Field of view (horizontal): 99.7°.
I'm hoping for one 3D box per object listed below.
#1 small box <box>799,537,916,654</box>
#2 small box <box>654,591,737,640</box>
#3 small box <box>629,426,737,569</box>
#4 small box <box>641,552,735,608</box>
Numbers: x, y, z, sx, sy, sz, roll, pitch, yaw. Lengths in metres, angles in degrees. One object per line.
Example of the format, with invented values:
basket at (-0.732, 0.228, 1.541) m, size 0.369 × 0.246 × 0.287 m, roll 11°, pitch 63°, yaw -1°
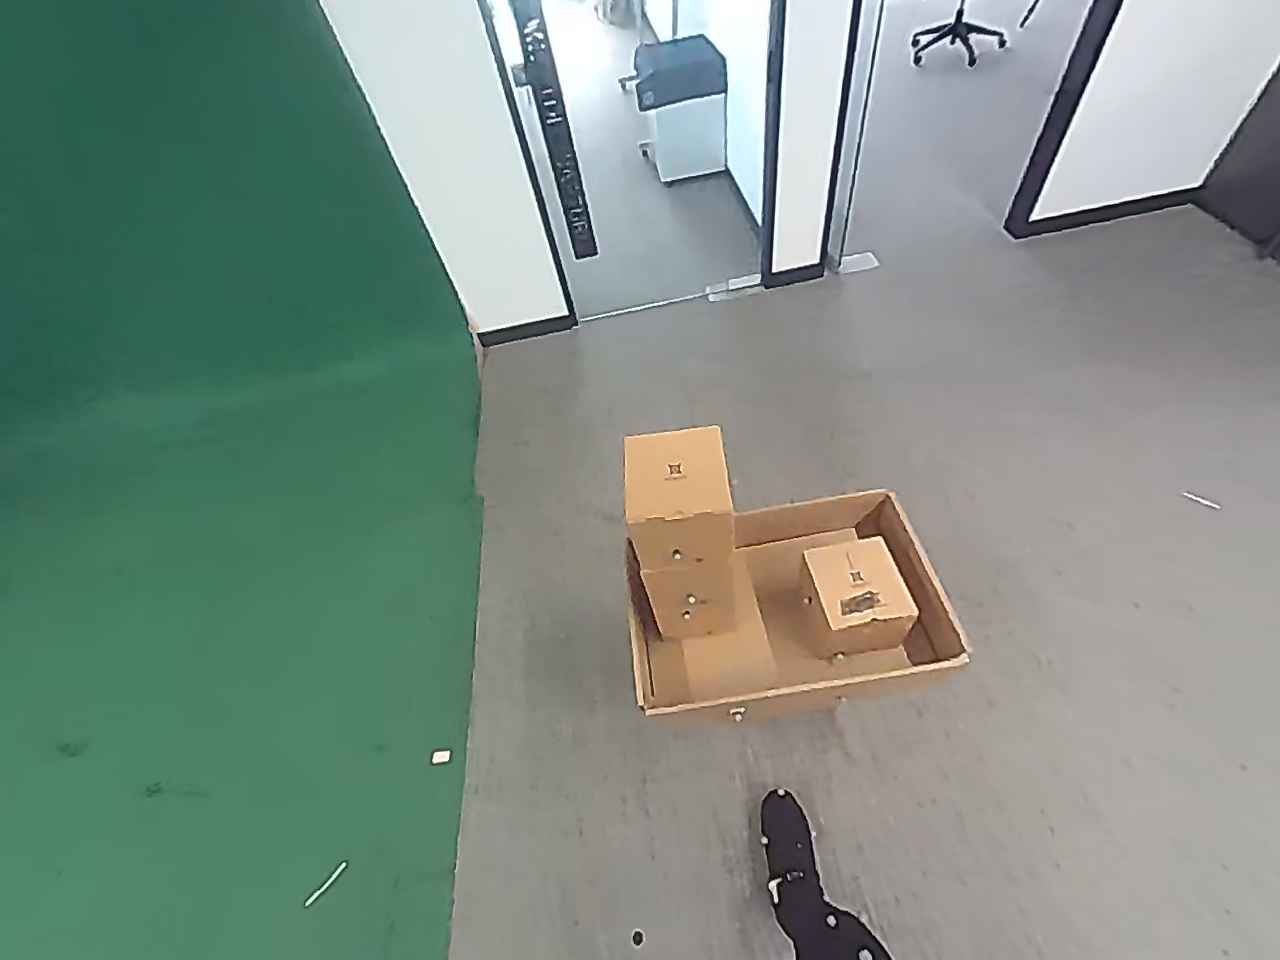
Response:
small box at (0.436, 0.245, 1.114) m, size 0.168 × 0.176 × 0.179 m, roll -10°, pitch 51°, yaw 2°
small box at (0.115, 0.230, 1.187) m, size 0.168 × 0.176 × 0.179 m, roll -8°, pitch 52°, yaw 4°
small box at (0.073, 0.033, 0.931) m, size 0.168 × 0.176 × 0.179 m, roll -6°, pitch 53°, yaw 6°
small box at (0.092, 0.131, 1.058) m, size 0.168 × 0.176 × 0.179 m, roll -7°, pitch 52°, yaw 6°
